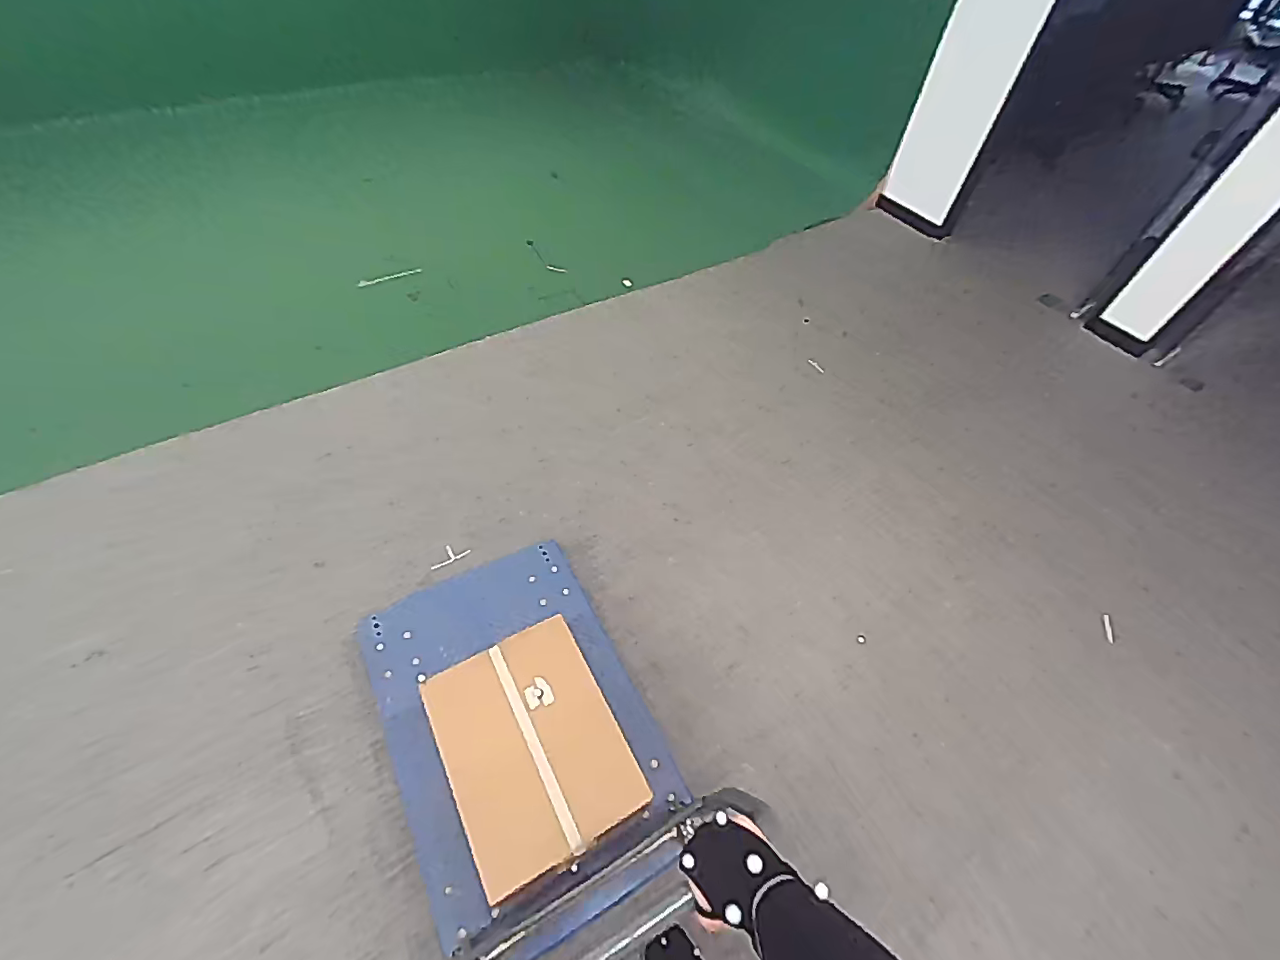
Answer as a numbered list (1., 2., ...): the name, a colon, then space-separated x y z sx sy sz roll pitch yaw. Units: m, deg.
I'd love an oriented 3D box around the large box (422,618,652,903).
1. large box: -0.210 0.583 1.143 0.320 0.320 0.408 -23 57 -20
